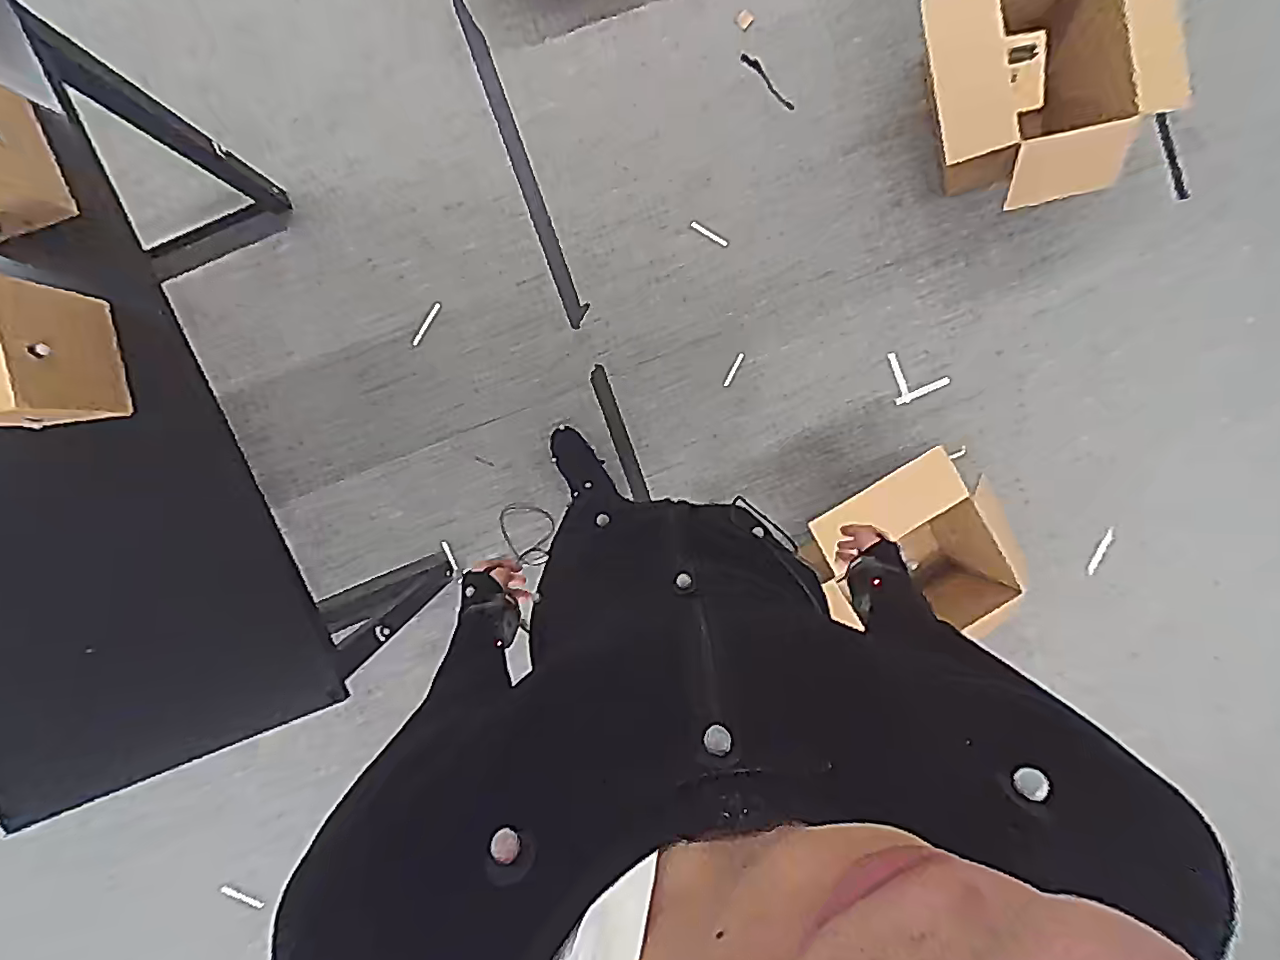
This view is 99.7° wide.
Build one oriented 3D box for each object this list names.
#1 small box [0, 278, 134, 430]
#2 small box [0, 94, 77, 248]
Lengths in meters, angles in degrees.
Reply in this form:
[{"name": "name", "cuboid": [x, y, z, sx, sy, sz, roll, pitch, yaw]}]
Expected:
[{"name": "small box", "cuboid": [-0.875, -0.166, 0.755, 0.168, 0.176, 0.179, -8, 97, -1]}, {"name": "small box", "cuboid": [-0.941, -0.437, 0.723, 0.168, 0.176, 0.179, -20, 98, 0]}]
